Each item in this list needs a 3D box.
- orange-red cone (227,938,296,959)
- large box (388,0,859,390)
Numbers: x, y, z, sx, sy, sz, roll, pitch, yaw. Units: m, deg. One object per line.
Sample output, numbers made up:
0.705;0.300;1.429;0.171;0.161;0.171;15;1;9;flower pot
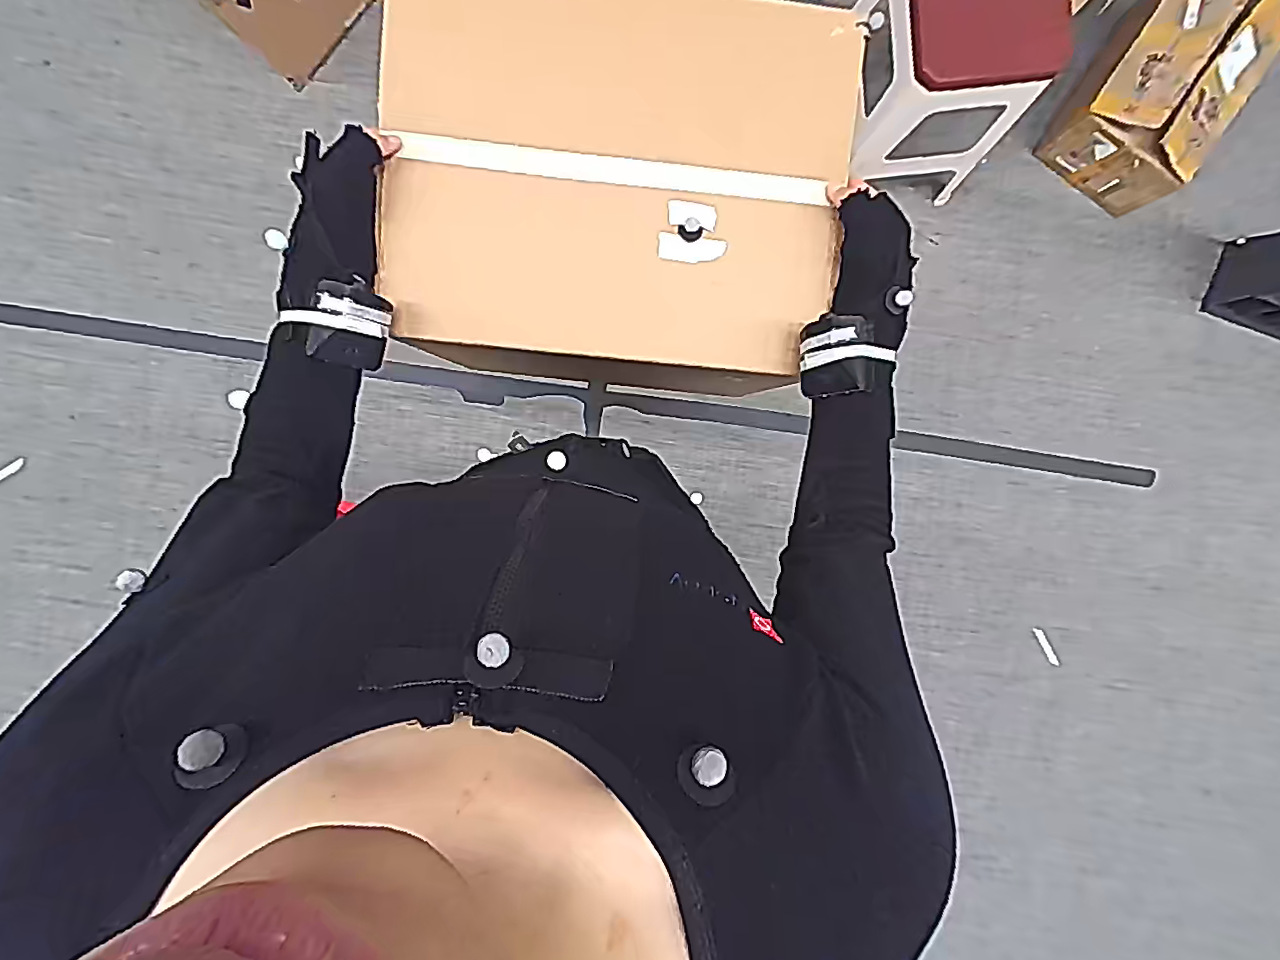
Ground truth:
-1.079;1.422;1.371;0.198;0.360;0.199;6;95;-2;orange-red cone
-0.025;-0.284;0.622;0.408;0.320;0.320;5;96;-4;large box
